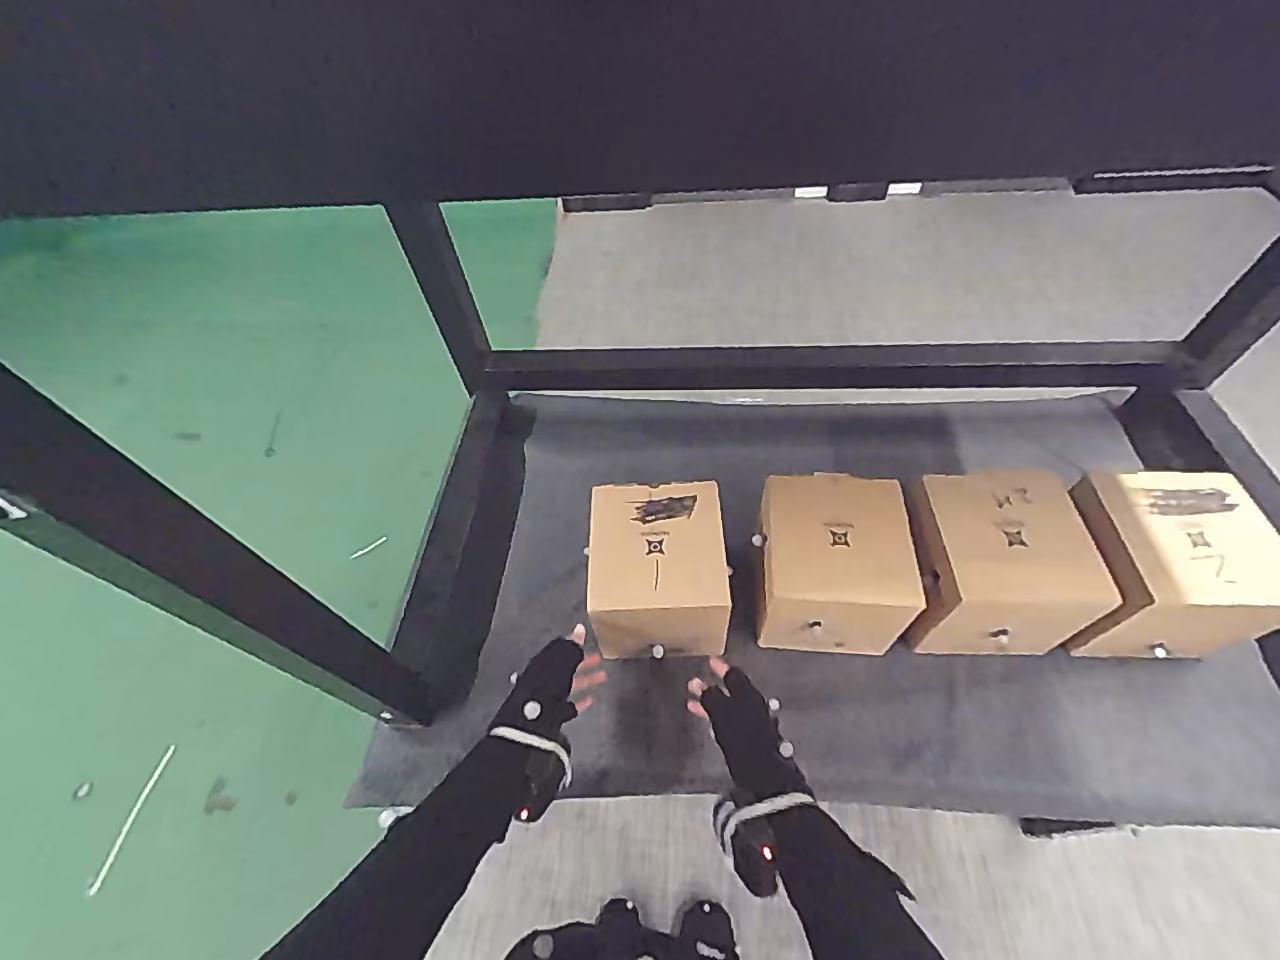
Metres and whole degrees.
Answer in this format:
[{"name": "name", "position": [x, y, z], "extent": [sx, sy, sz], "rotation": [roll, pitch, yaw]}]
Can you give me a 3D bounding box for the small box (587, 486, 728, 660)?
[{"name": "small box", "position": [0.023, 0.128, 0.731], "extent": [0.168, 0.176, 0.179], "rotation": [-3, 54, 3]}]
